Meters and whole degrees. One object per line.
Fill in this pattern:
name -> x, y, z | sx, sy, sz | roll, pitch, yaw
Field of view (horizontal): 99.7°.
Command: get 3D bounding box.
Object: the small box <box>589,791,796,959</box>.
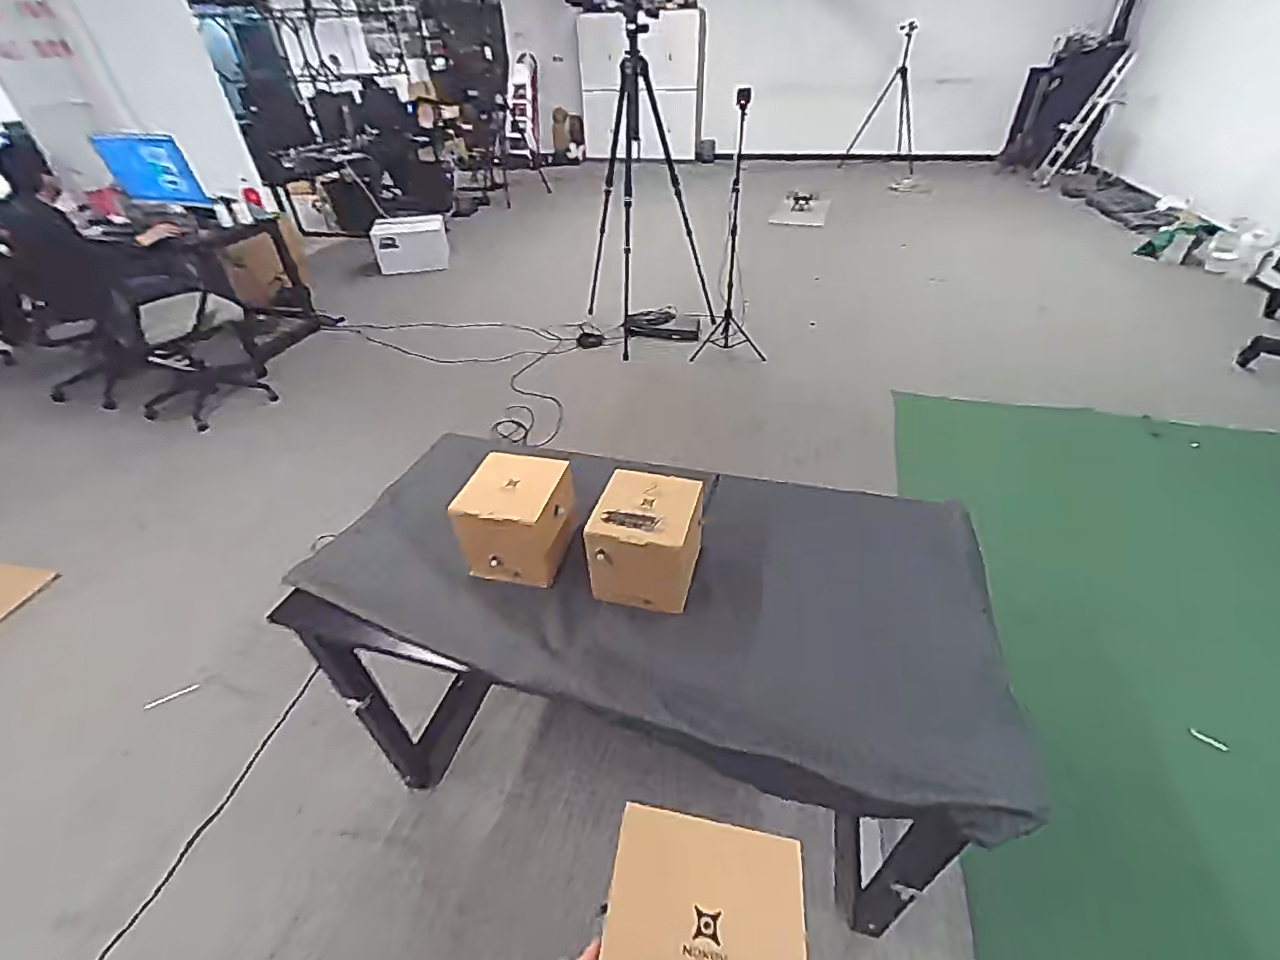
small box -> 0.041, 0.430, 0.503 | 0.168, 0.176, 0.179 | 10, 40, 5

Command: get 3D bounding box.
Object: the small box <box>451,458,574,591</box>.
small box -> -0.231, 0.083, 1.035 | 0.168, 0.176, 0.179 | 7, 40, 11
